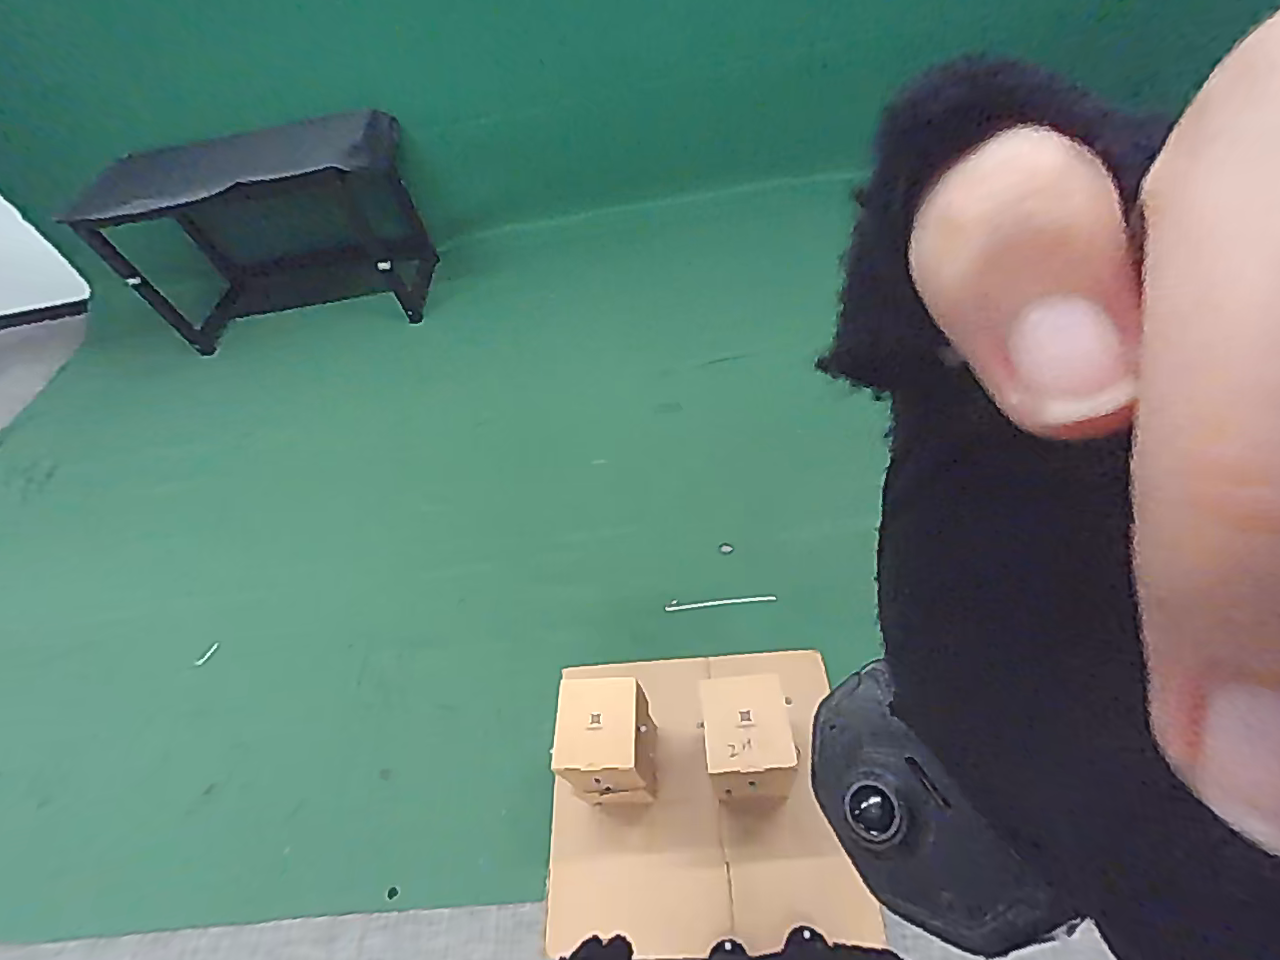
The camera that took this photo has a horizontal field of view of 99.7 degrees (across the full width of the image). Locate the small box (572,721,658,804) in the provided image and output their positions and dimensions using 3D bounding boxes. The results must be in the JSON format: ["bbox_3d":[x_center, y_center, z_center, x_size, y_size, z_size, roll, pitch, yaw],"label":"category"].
[{"bbox_3d":[-0.051,0.645,1.257,0.168,0.176,0.179,-6,50,8],"label":"small box"}]

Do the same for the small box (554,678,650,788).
[{"bbox_3d":[-0.072,0.534,1.140,0.168,0.176,0.179,-5,51,8],"label":"small box"}]

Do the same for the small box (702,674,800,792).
[{"bbox_3d":[0.219,0.515,1.095,0.168,0.176,0.179,-7,50,6],"label":"small box"}]
